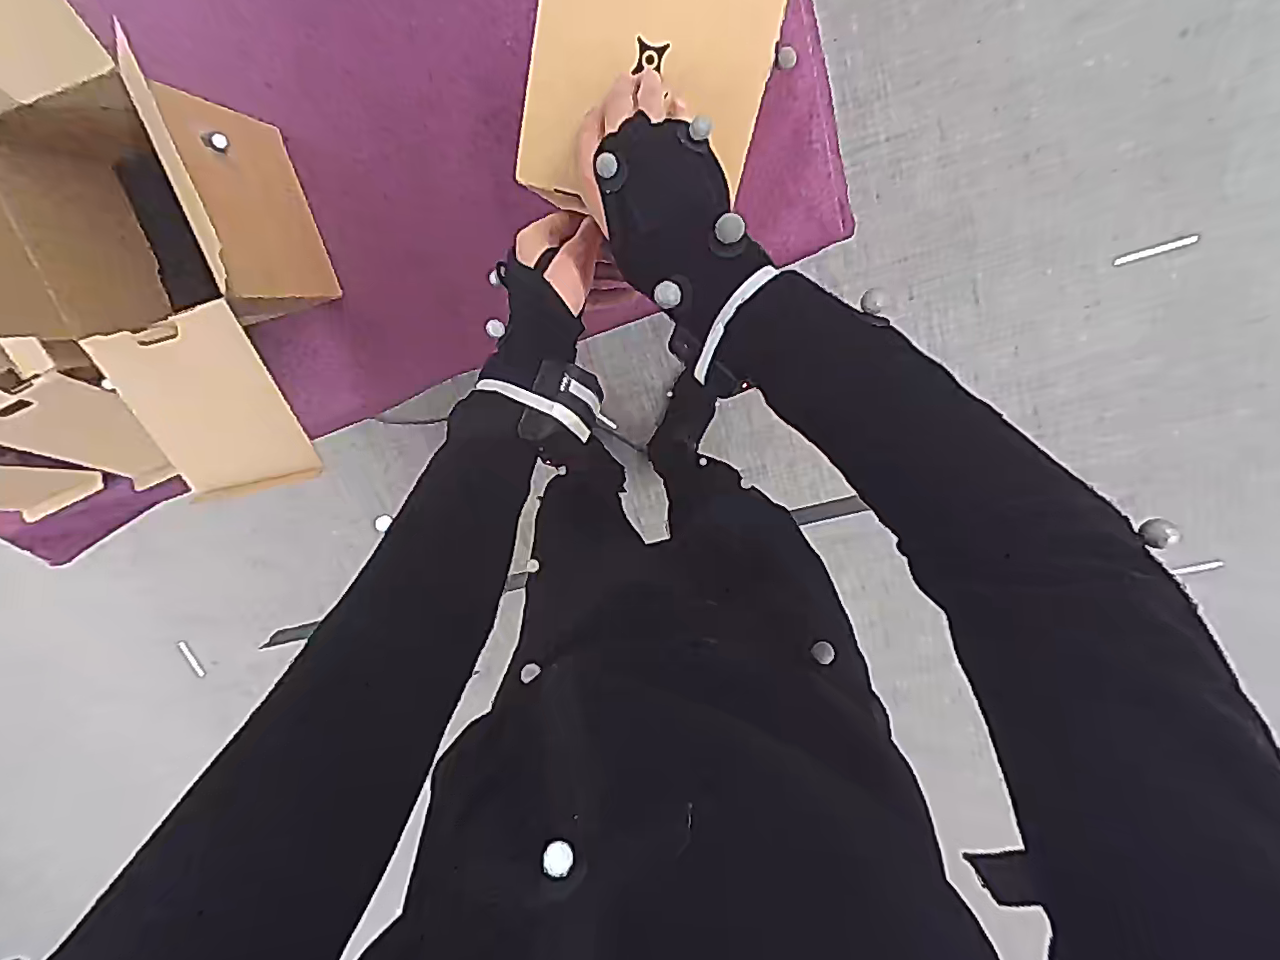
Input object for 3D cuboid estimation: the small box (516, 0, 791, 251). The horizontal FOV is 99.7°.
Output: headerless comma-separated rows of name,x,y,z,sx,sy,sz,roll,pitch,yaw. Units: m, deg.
small box,0.013,-0.307,0.454,0.168,0.176,0.179,16,110,2
